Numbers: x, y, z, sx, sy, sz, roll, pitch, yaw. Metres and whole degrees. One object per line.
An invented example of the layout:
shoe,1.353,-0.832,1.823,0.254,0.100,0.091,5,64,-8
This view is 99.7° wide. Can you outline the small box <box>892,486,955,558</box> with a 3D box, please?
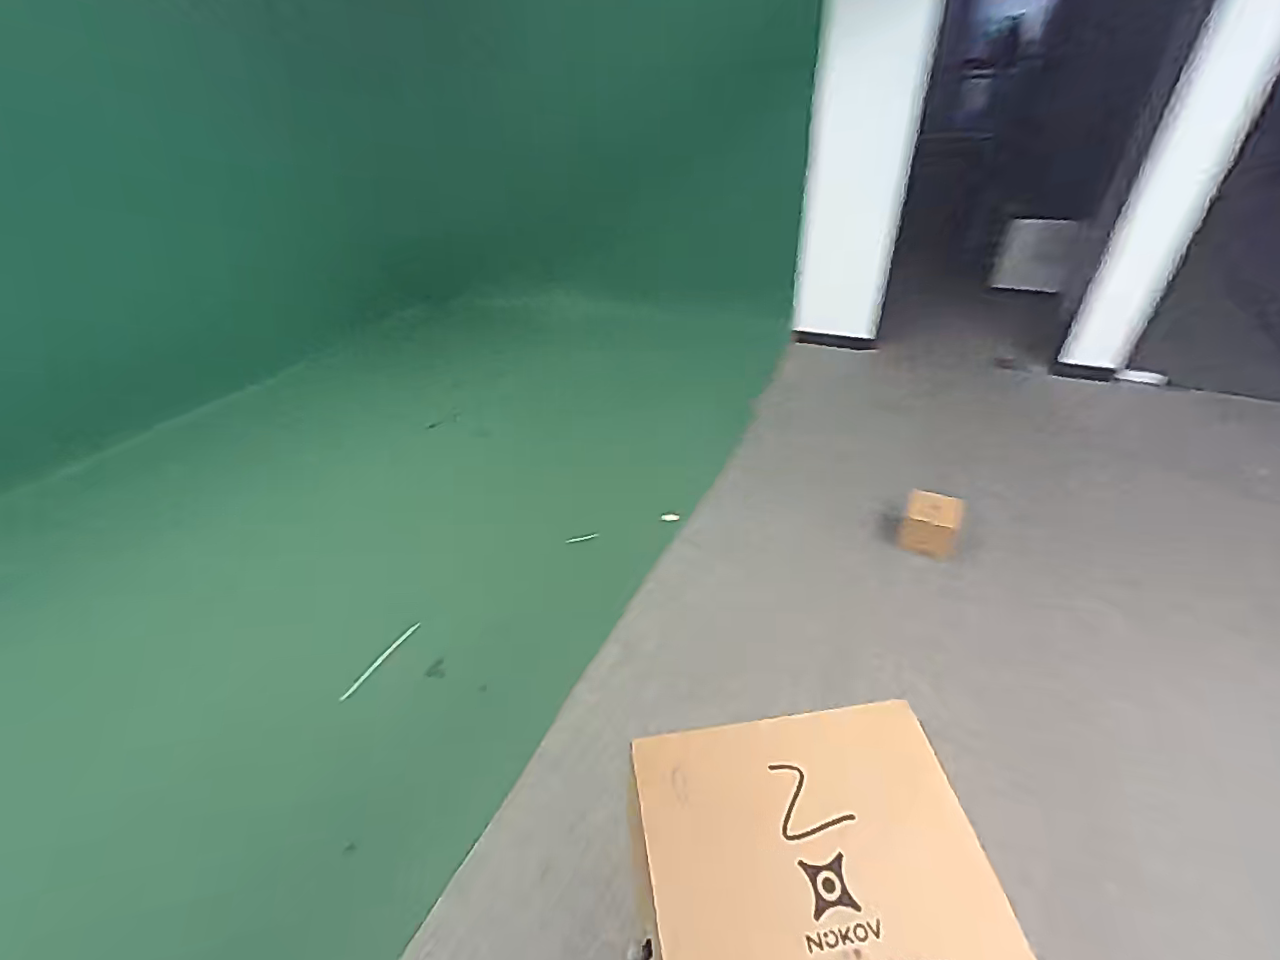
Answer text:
small box,1.053,0.156,2.013,0.168,0.176,0.179,15,43,24
